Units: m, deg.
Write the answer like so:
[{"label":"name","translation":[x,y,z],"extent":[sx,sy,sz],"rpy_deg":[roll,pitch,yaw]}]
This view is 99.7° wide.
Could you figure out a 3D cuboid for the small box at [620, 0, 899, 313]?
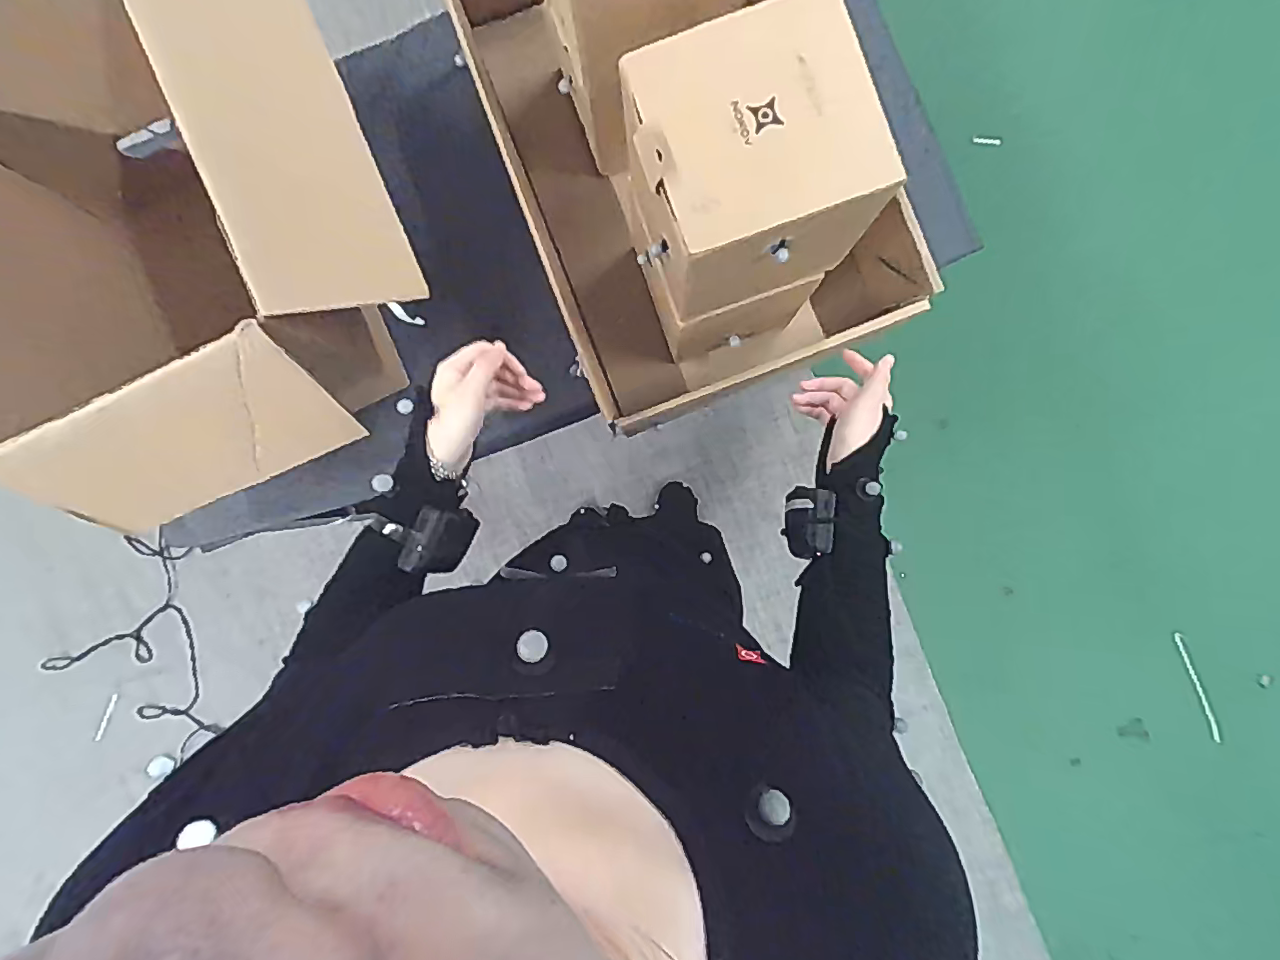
[{"label":"small box","translation":[0.094,-0.274,0.494],"extent":[0.179,0.176,0.168],"rpy_deg":[-19,90,1]}]

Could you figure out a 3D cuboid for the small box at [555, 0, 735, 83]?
[{"label":"small box","translation":[-0.007,-0.516,0.495],"extent":[0.179,0.176,0.168],"rpy_deg":[-19,91,1]}]
